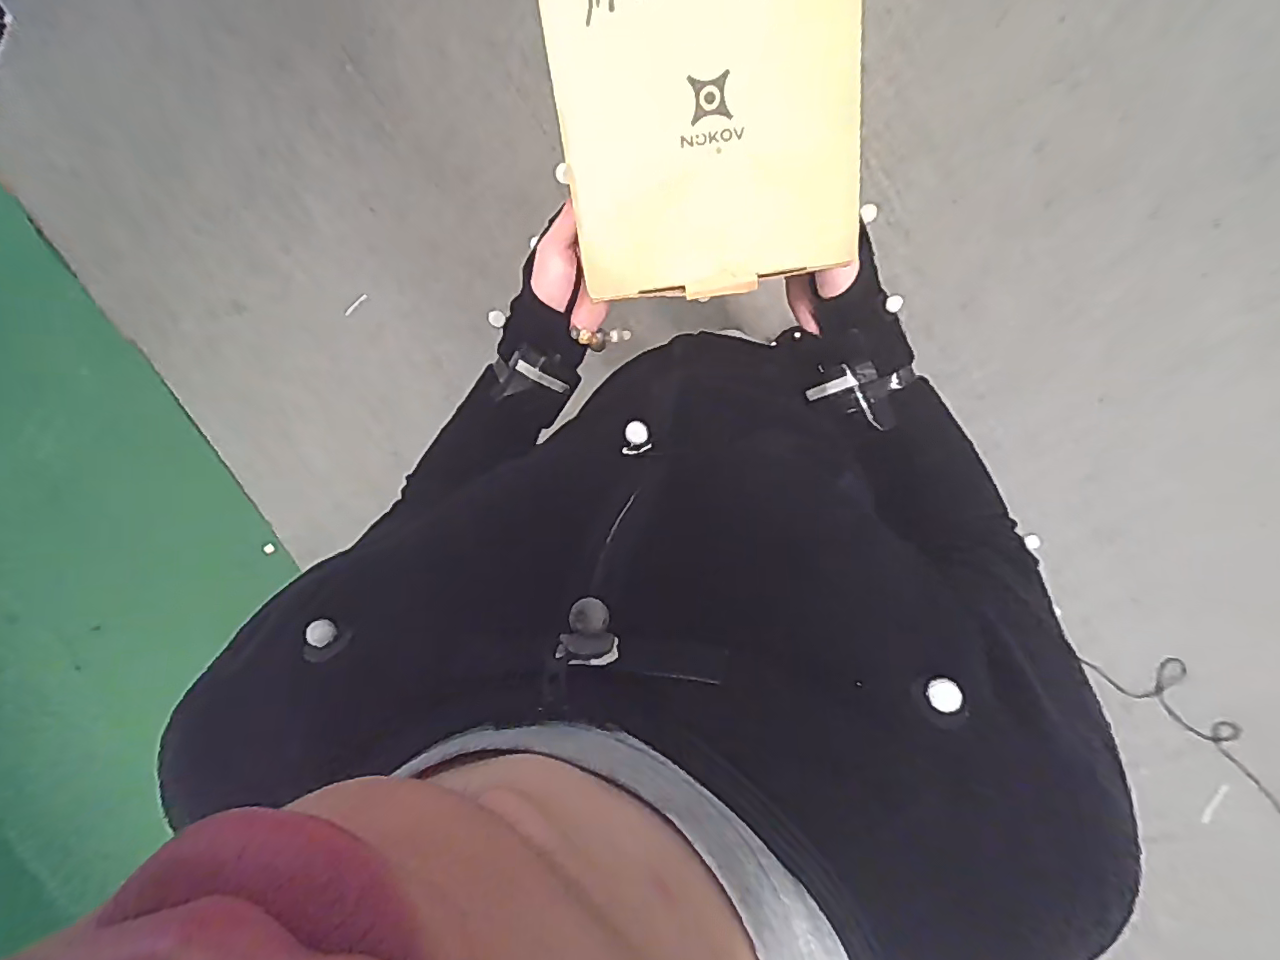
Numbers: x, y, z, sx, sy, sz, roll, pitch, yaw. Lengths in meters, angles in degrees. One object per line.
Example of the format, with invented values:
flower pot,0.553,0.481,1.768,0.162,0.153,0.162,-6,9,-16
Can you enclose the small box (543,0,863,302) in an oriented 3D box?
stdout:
small box,0.037,-0.231,0.371,0.168,0.176,0.179,-8,113,1
